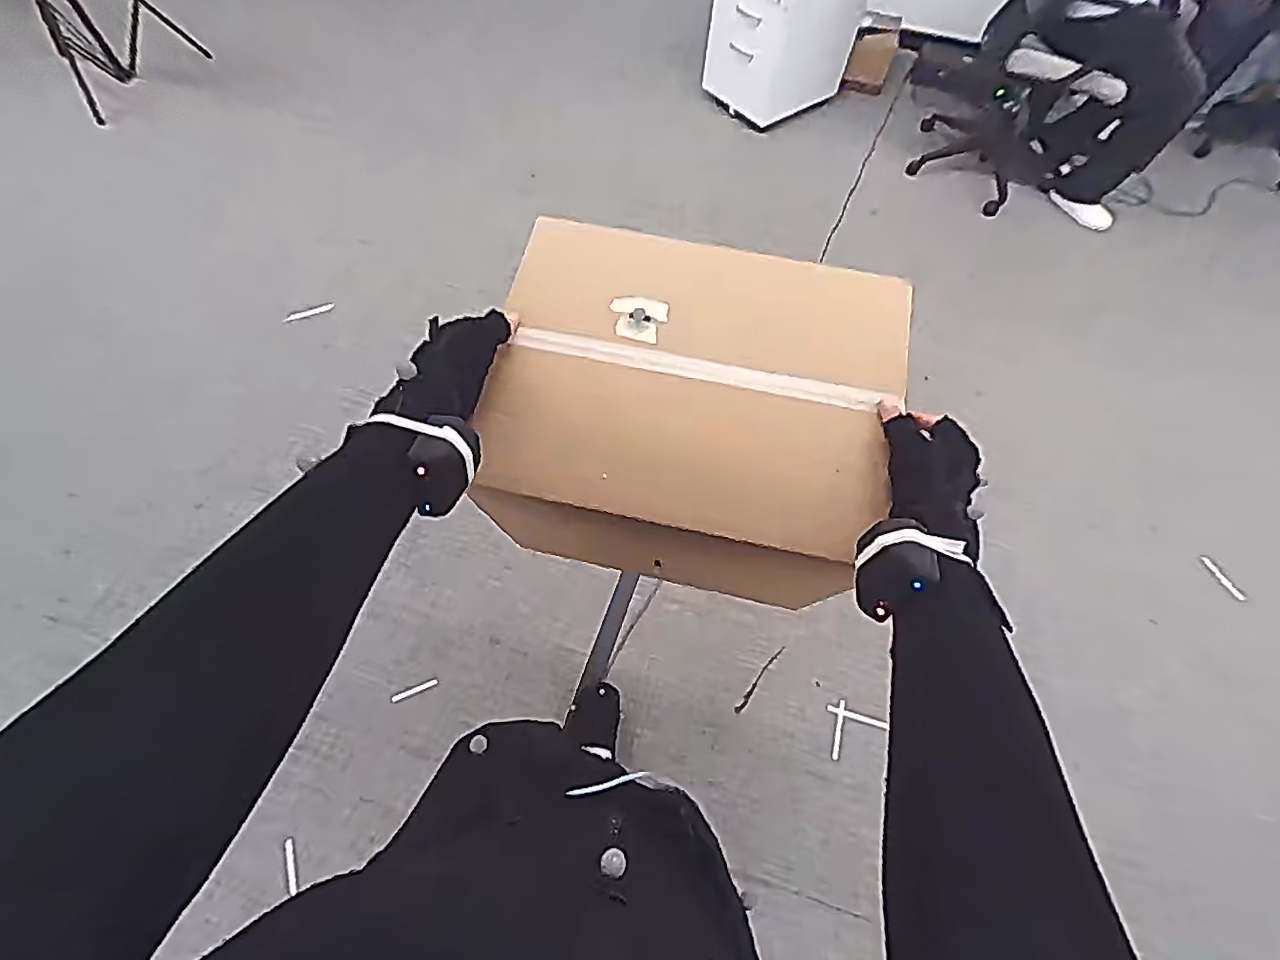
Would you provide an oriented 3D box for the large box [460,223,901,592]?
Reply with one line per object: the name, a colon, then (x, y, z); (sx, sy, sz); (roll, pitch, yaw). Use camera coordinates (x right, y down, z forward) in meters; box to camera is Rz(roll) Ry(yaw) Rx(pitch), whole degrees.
large box: (0.058, -0.063, 0.683); (0.408, 0.320, 0.320); (12, 71, 6)
